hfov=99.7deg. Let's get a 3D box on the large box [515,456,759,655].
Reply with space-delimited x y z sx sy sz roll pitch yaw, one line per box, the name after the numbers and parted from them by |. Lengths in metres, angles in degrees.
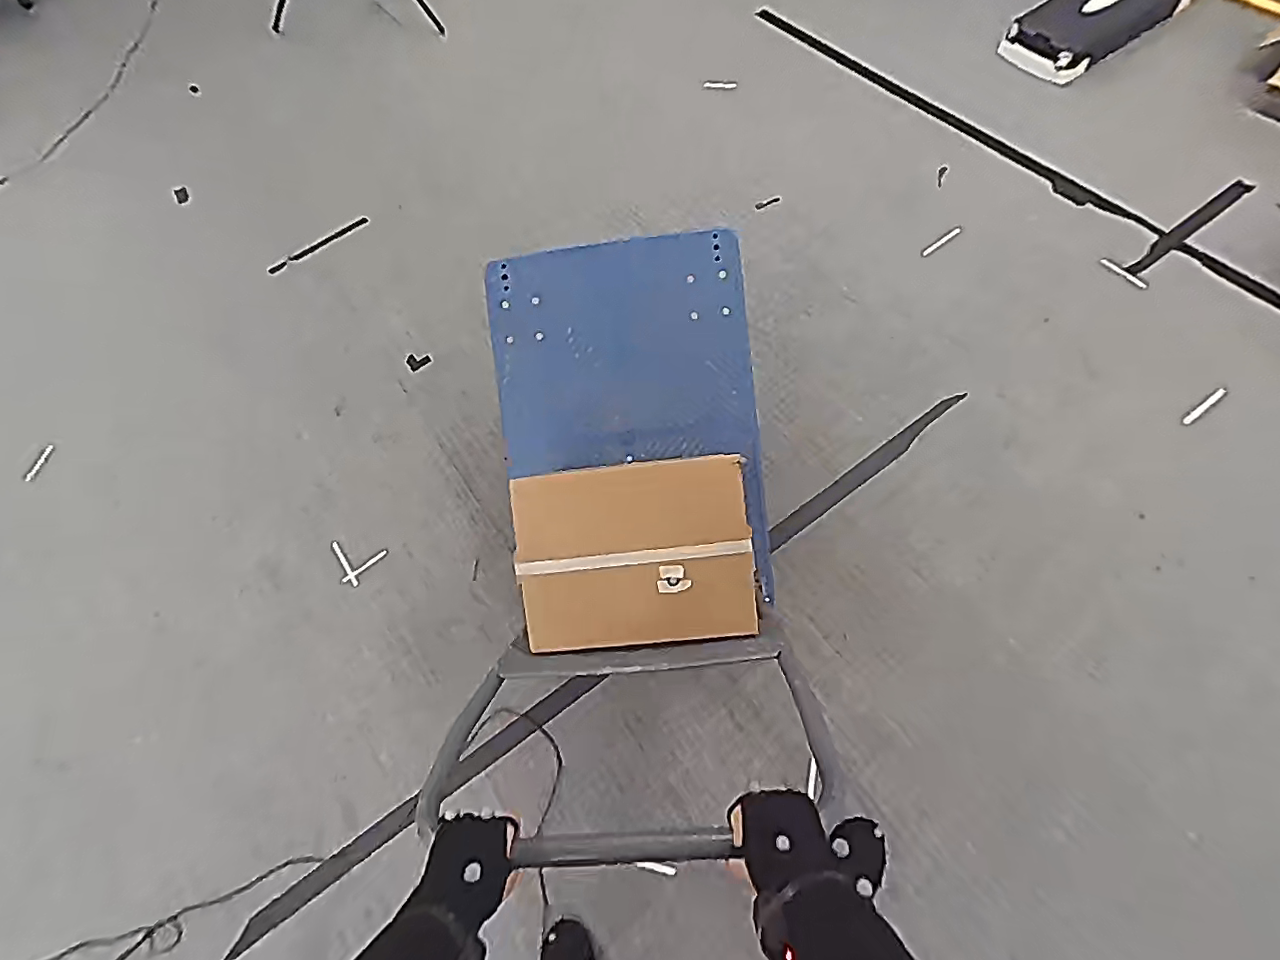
0.000 0.131 1.104 0.408 0.320 0.320 -8 93 3 | large box
